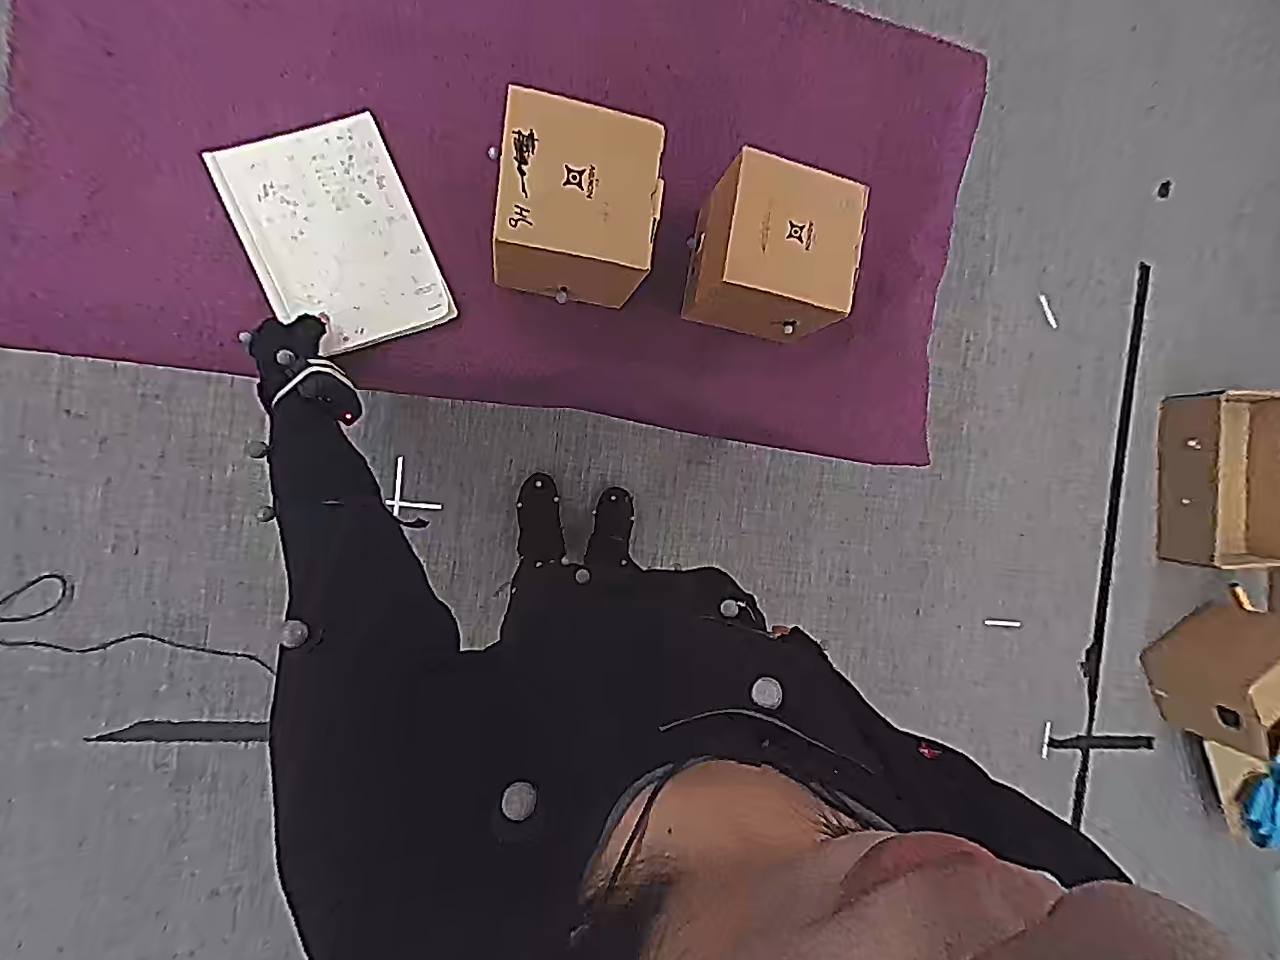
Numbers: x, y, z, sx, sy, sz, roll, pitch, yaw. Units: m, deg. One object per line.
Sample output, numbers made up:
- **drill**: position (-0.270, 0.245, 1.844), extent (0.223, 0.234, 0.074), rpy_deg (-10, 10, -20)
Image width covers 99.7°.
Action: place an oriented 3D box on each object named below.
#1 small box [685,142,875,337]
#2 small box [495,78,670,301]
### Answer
- **small box**: position (0.177, -0.302, 0.723), extent (0.179, 0.176, 0.168), rpy_deg (9, 88, -12)
- **small box**: position (-0.079, -0.330, 0.659), extent (0.179, 0.176, 0.168), rpy_deg (6, 90, -15)
